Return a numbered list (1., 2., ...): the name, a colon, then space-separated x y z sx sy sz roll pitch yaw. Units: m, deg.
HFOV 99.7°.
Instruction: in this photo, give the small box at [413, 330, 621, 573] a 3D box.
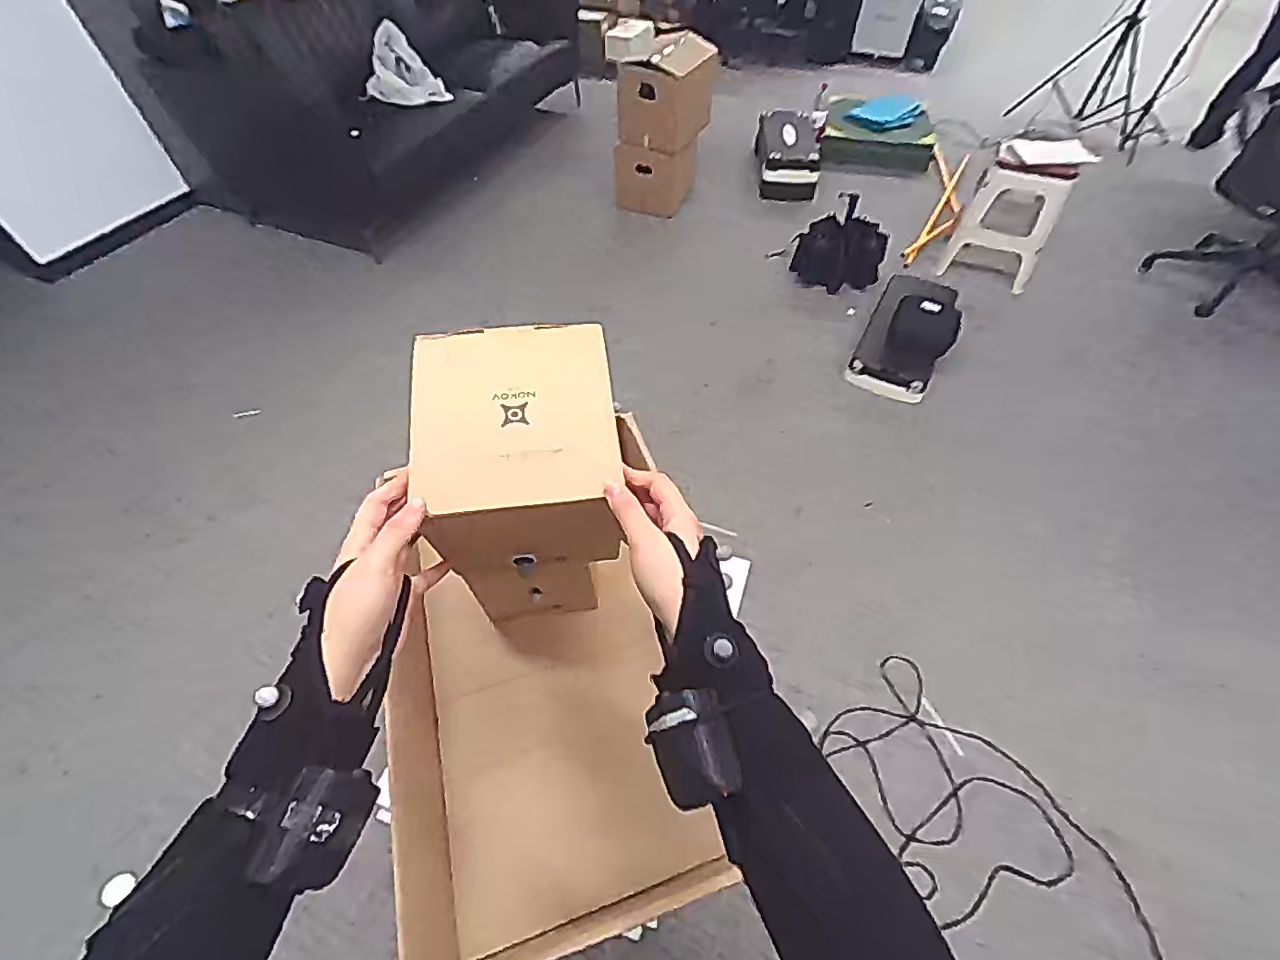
1. small box: -0.113 -0.022 0.536 0.168 0.176 0.179 -6 64 -7
